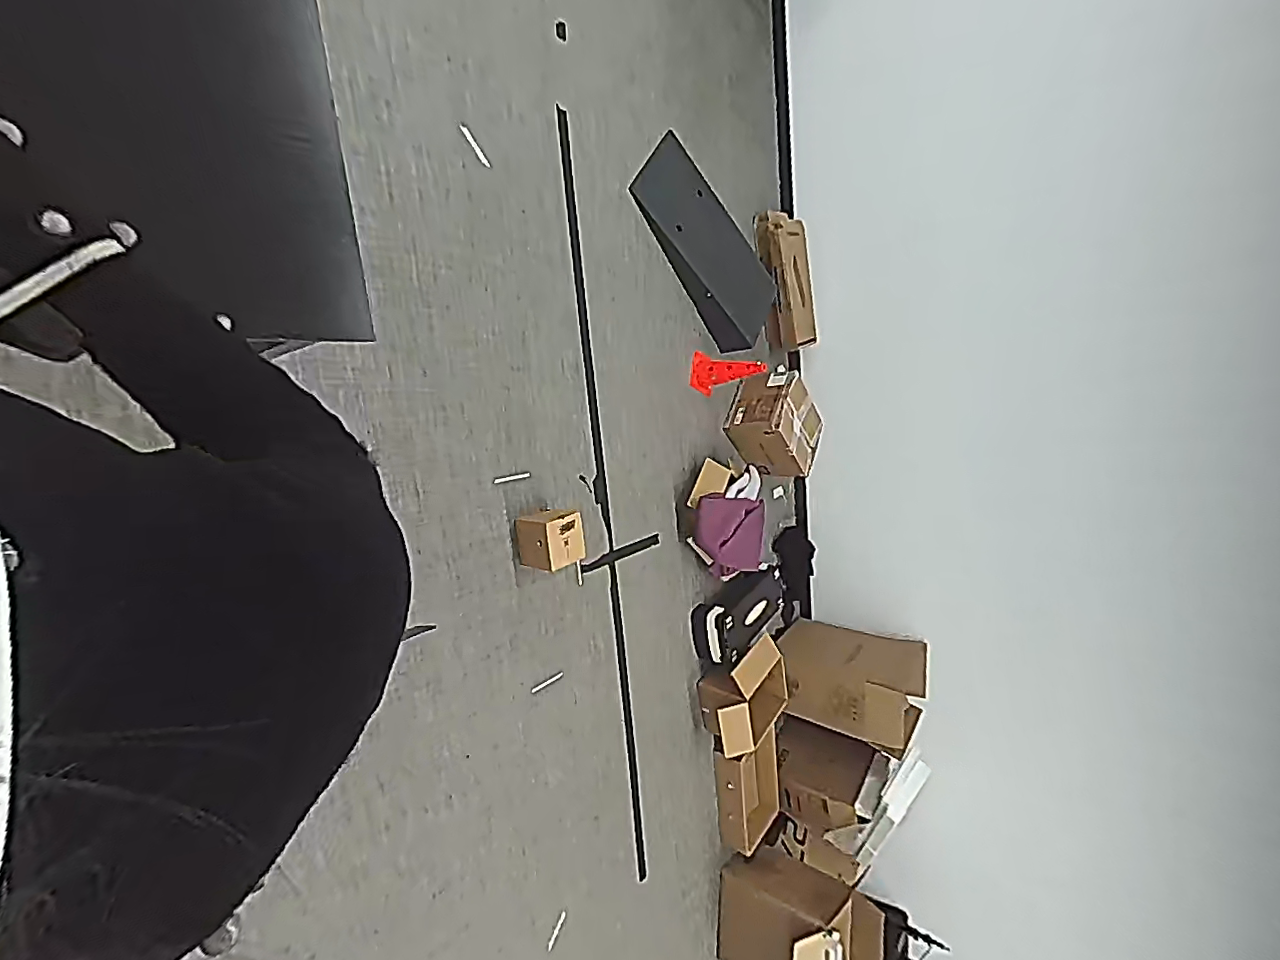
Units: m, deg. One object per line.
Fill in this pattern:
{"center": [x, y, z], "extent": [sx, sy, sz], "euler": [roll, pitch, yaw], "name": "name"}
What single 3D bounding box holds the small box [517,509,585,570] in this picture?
{"center": [-0.322, 0.205, 1.928], "extent": [0.168, 0.176, 0.179], "euler": [-18, 106, -49], "name": "small box"}
